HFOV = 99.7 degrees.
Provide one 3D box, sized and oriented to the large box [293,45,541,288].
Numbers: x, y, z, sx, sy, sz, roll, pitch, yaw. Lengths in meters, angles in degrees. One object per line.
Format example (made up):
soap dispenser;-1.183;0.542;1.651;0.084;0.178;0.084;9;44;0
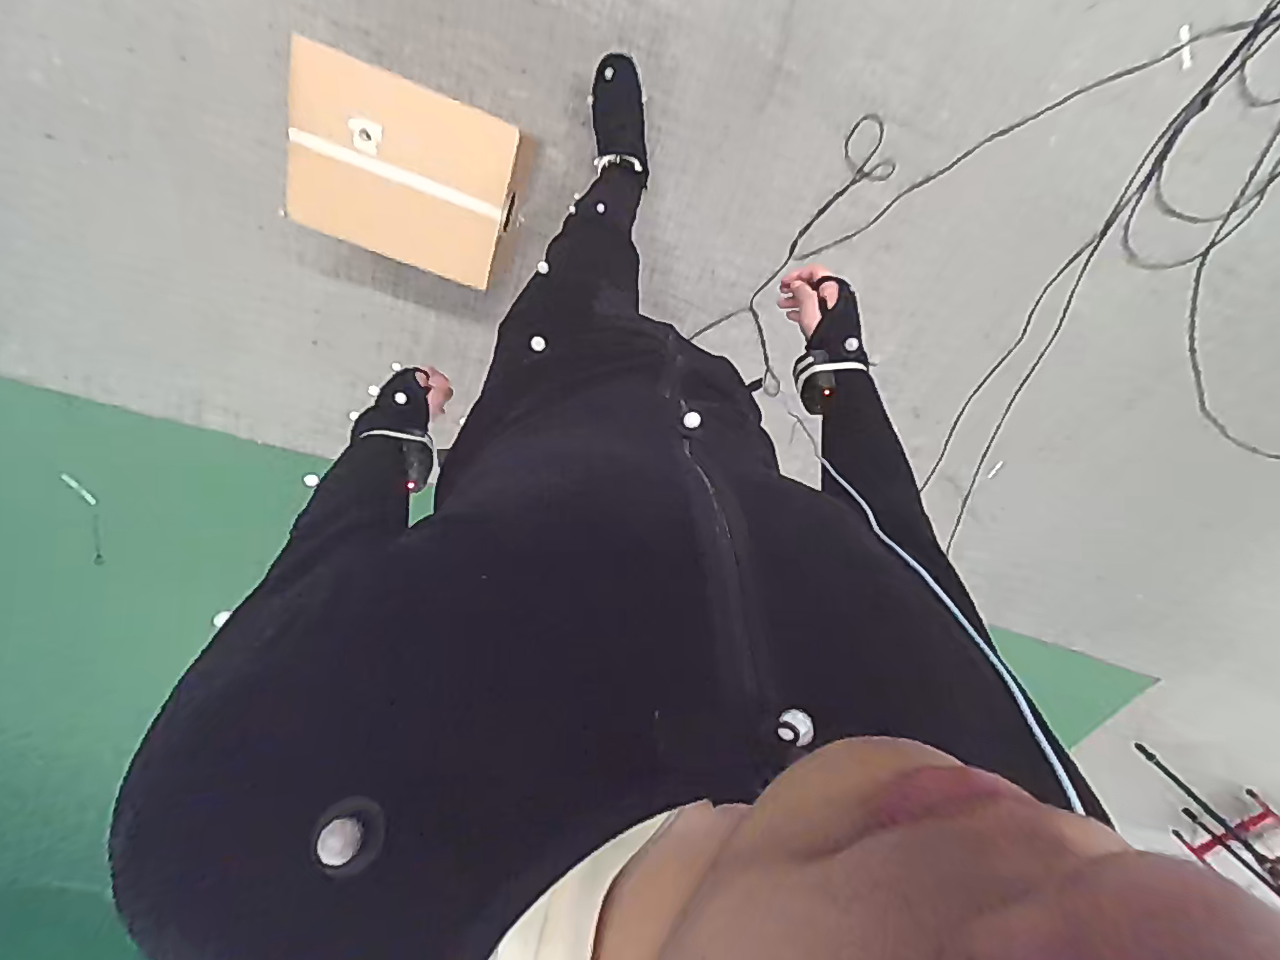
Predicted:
large box;-0.464;-0.662;1.181;0.408;0.320;0.320;17;118;-10
